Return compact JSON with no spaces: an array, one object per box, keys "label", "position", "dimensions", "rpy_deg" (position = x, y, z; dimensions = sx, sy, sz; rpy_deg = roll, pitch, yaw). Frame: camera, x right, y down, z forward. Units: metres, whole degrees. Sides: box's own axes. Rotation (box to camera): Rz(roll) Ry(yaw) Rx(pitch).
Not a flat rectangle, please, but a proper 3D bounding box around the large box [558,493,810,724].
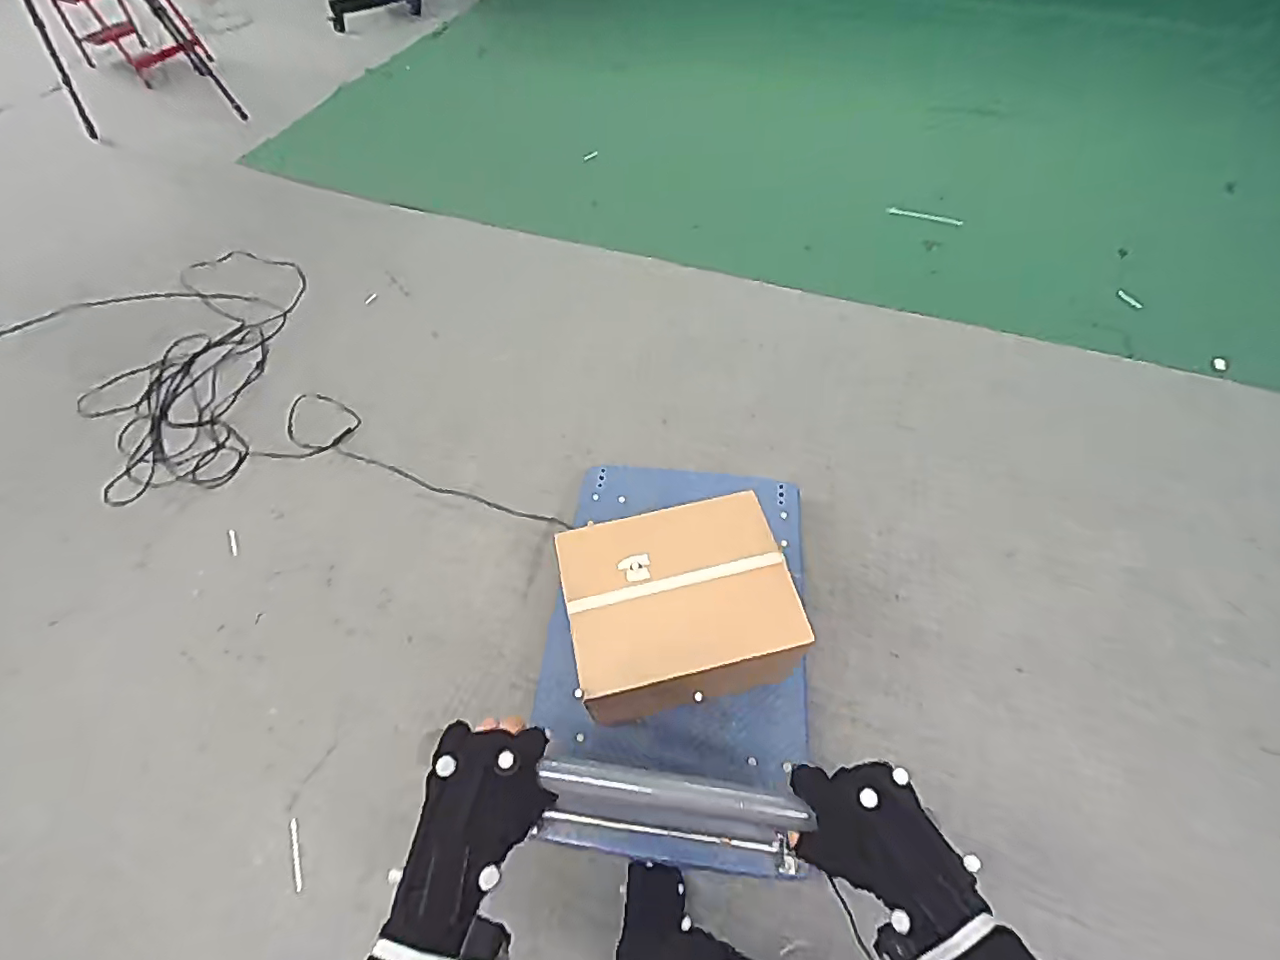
[{"label":"large box","position":[0.074,0.273,1.114],"dimensions":[0.408,0.320,0.320],"rpy_deg":[-13,57,-5]}]
